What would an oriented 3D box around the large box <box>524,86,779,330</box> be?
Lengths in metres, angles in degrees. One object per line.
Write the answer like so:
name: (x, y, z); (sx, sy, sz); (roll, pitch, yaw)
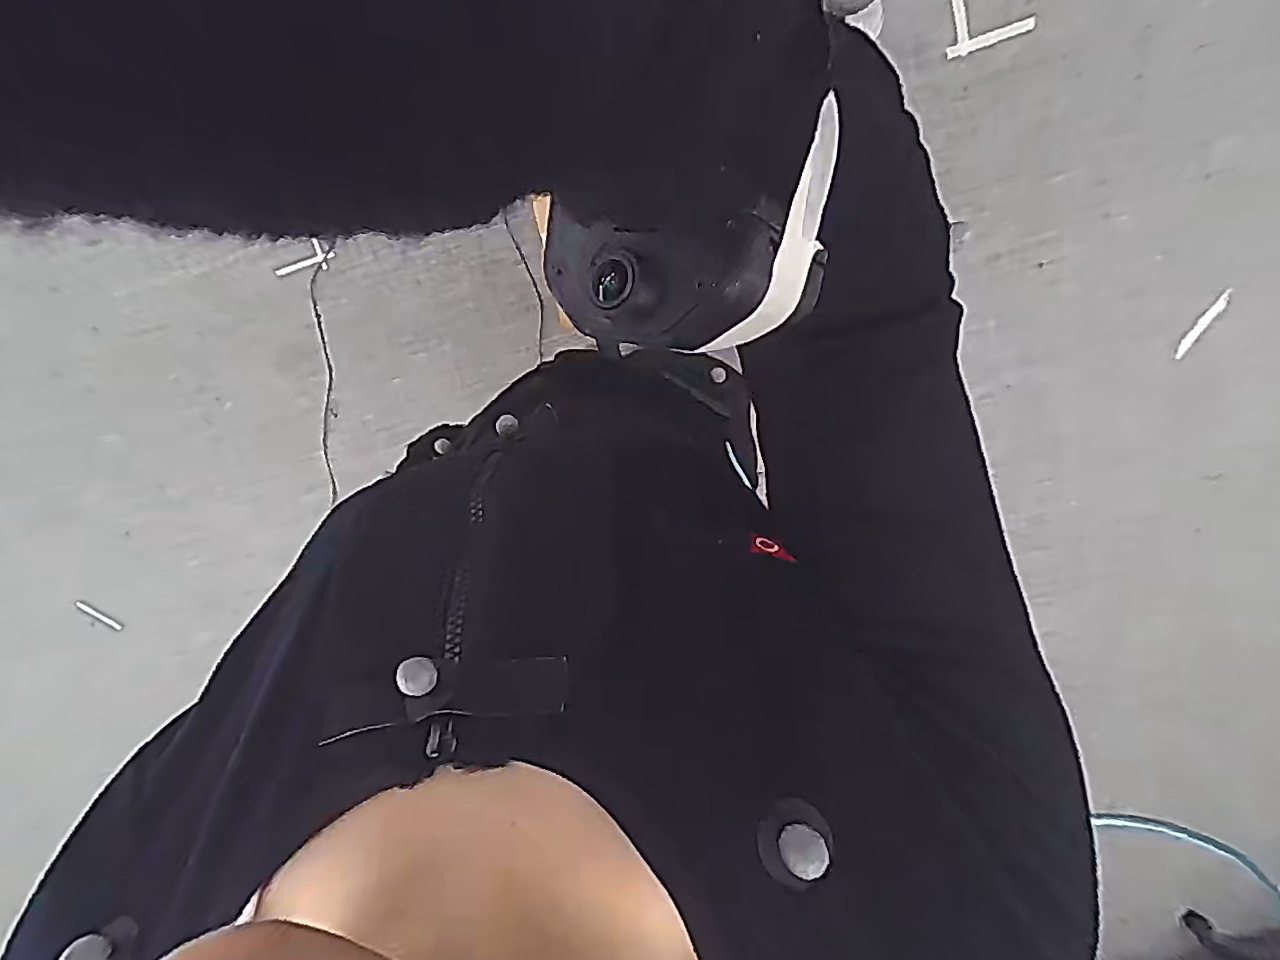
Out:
large box: (0.029, -0.505, 1.091); (0.408, 0.320, 0.320); (-11, 105, 5)
